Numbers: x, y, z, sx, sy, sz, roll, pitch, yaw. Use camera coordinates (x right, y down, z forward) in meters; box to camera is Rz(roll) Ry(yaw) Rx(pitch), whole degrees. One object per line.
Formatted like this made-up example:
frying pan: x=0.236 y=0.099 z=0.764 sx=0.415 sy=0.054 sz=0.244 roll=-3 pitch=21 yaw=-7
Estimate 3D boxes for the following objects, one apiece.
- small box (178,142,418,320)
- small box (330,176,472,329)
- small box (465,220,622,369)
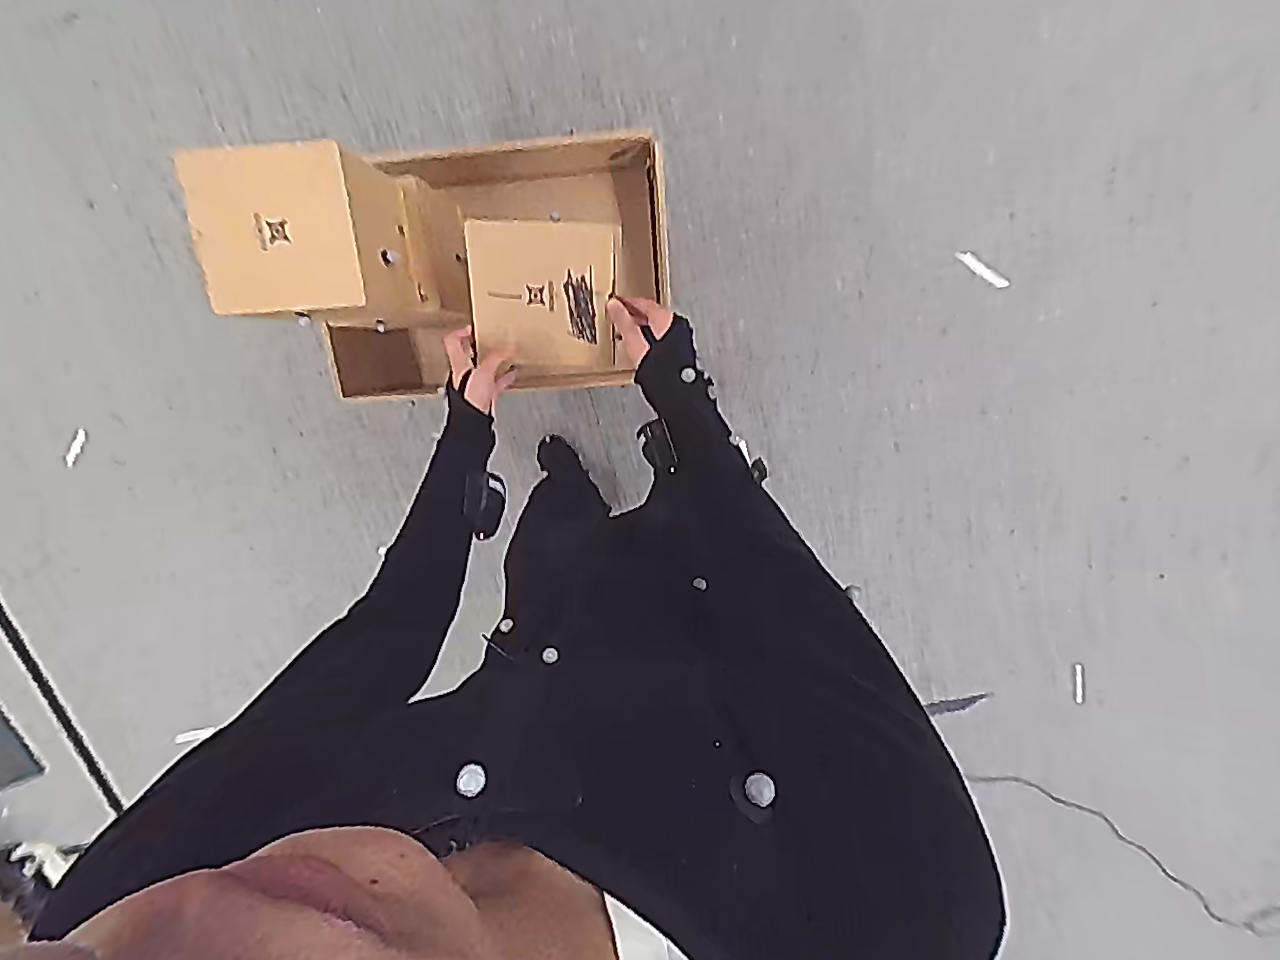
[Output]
small box: x=-0.389 y=-0.287 z=0.656 sx=0.179 sy=0.176 sz=0.168 roll=-4 pitch=104 yaw=1
small box: x=-0.364 y=-0.329 z=0.814 sx=0.168 sy=0.176 sz=0.179 roll=-7 pitch=104 yaw=2
small box: x=-0.115 y=-0.250 z=0.715 sx=0.179 sy=0.176 sz=0.168 roll=2 pitch=114 yaw=0
